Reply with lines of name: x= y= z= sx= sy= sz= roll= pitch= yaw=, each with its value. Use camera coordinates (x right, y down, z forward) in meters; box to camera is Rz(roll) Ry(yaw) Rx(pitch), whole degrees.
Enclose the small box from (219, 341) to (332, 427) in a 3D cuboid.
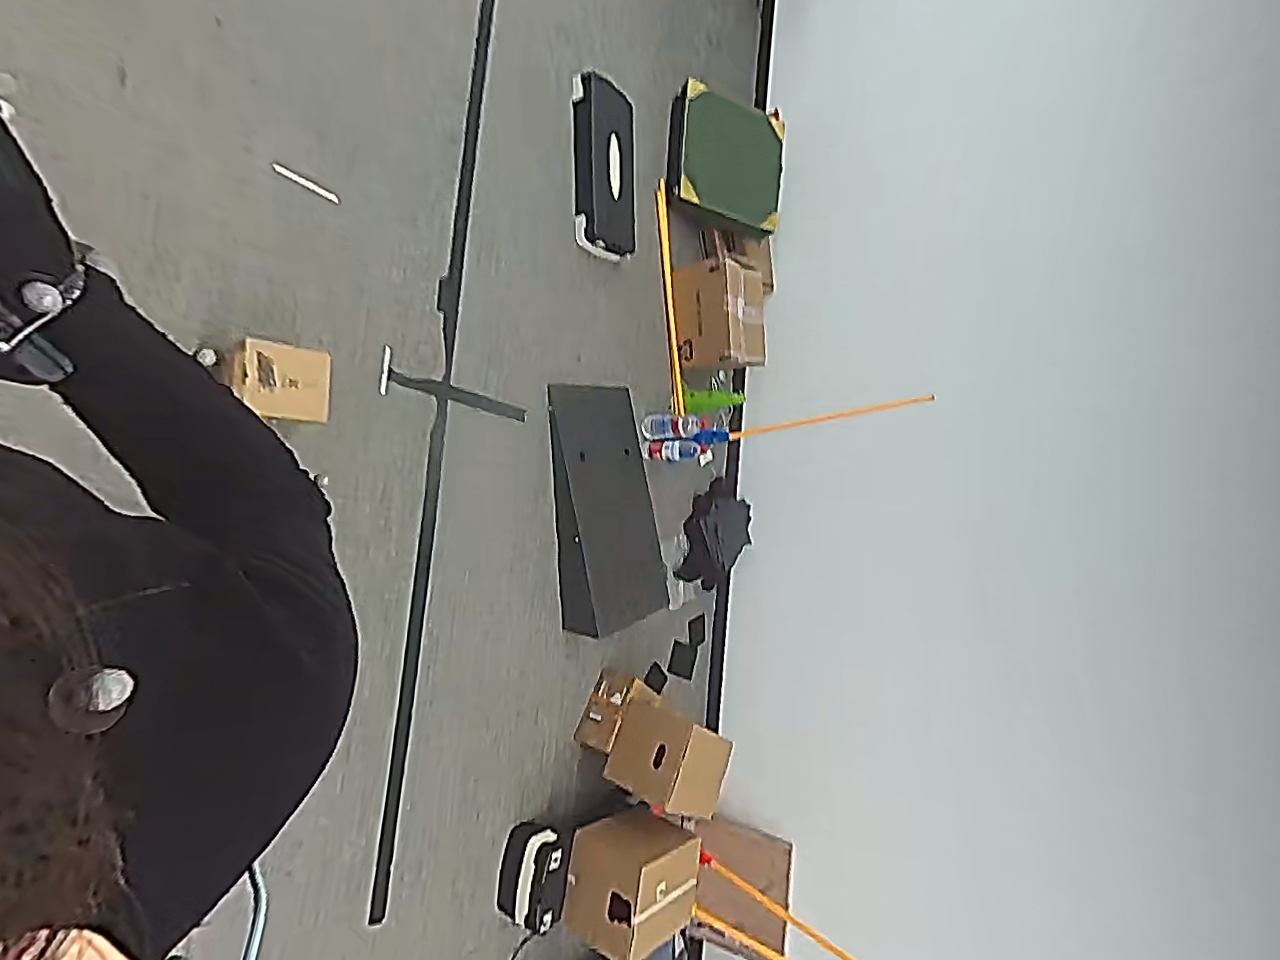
small box: x=-0.853 y=-0.215 z=1.264 sx=0.179 sy=0.176 sz=0.168 roll=4 pitch=89 yaw=-54
